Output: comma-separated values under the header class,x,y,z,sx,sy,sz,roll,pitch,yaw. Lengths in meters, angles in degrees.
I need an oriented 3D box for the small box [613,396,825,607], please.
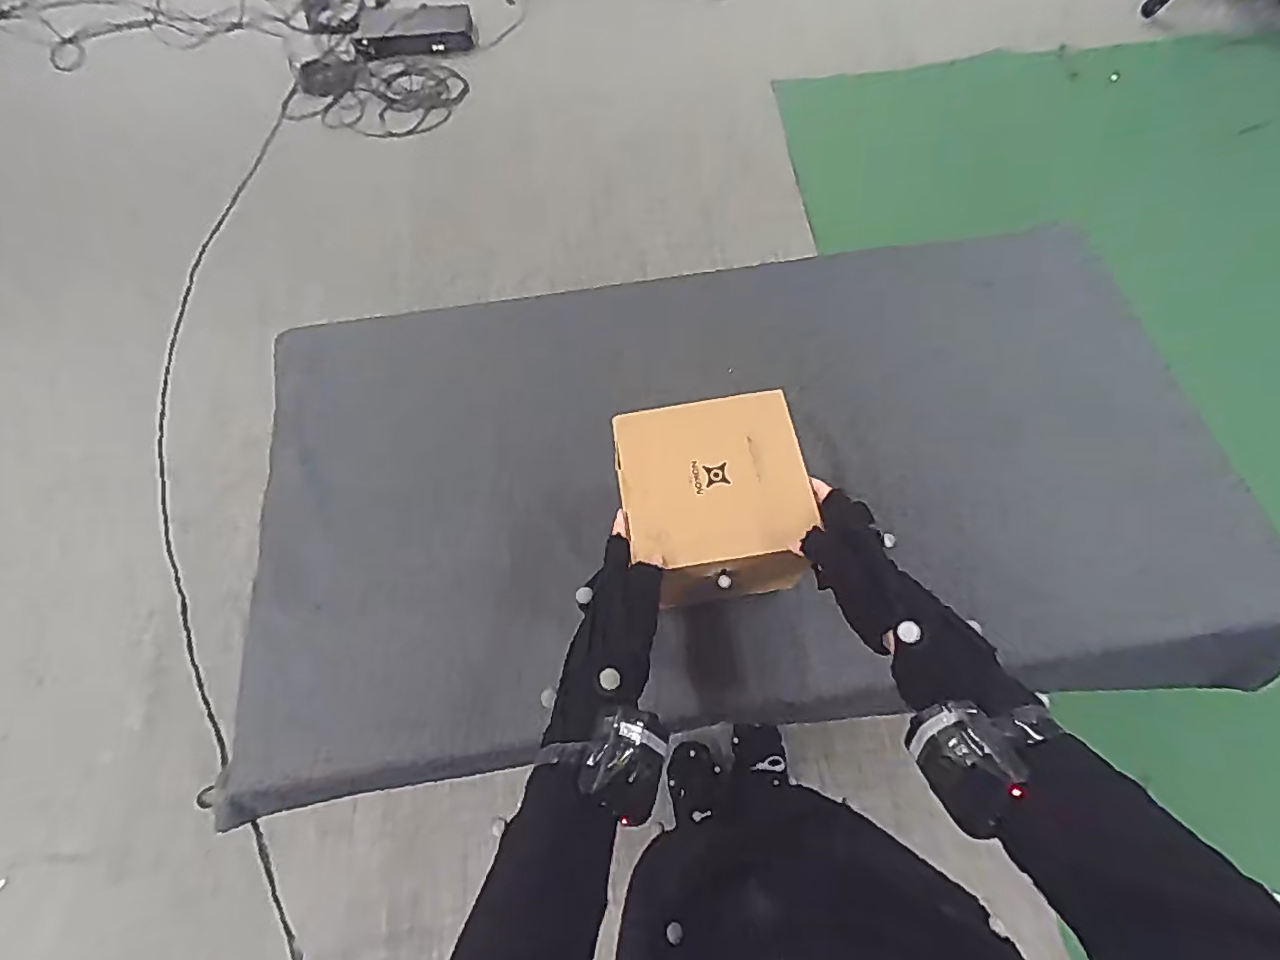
class,x,y,z,sx,sy,sz,roll,pitch,yaw
small box,0.074,0.033,0.586,0.179,0.176,0.168,-9,67,-1
